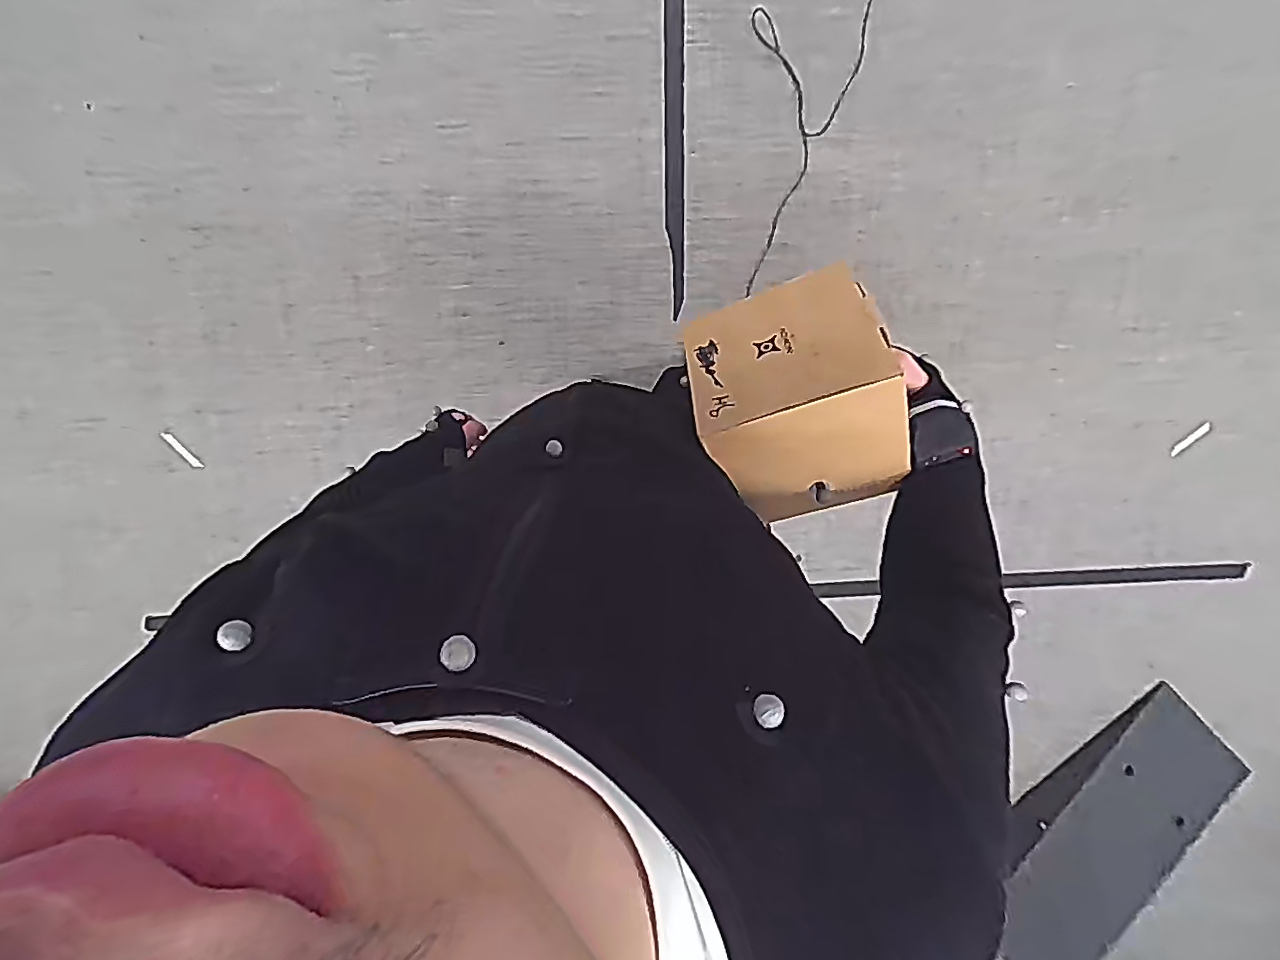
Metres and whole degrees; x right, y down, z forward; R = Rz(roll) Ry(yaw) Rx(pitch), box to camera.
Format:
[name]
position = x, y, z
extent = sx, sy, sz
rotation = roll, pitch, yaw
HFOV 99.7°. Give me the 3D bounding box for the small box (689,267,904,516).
[small box]
position = 0.167, -0.085, 0.580
extent = 0.179, 0.168, 0.176
rotation = -17, 139, 17
